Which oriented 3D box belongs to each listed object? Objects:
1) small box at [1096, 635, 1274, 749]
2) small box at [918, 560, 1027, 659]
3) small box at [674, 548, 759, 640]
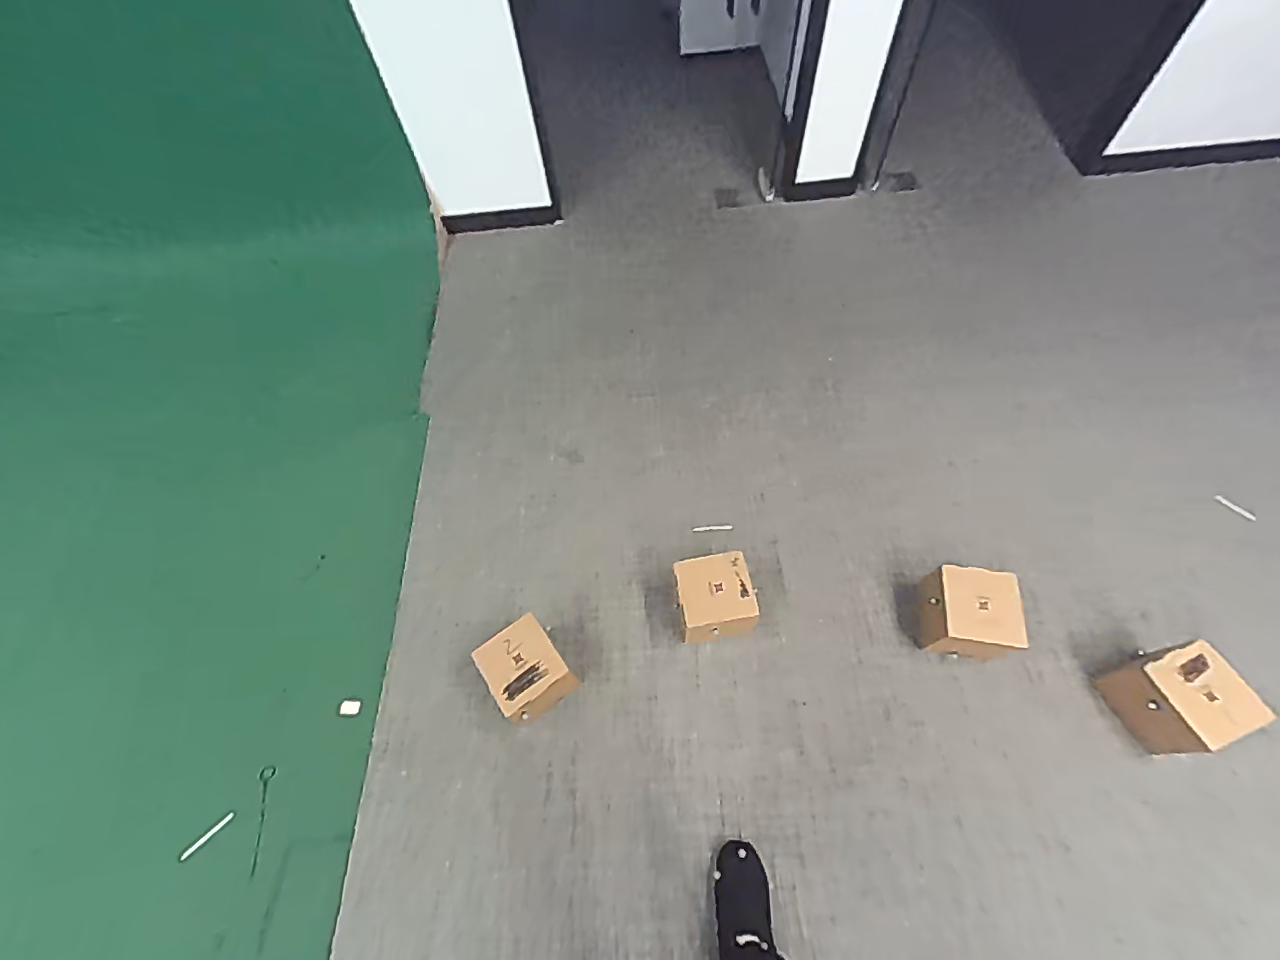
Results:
[{"bbox_3d":[1.172,0.468,1.183,0.168,0.176,0.179,-21,62,-7],"label":"small box"},{"bbox_3d":[0.784,0.314,1.298,0.168,0.176,0.179,7,62,9],"label":"small box"},{"bbox_3d":[0.187,0.291,1.354,0.179,0.176,0.168,-10,61,-1],"label":"small box"}]
